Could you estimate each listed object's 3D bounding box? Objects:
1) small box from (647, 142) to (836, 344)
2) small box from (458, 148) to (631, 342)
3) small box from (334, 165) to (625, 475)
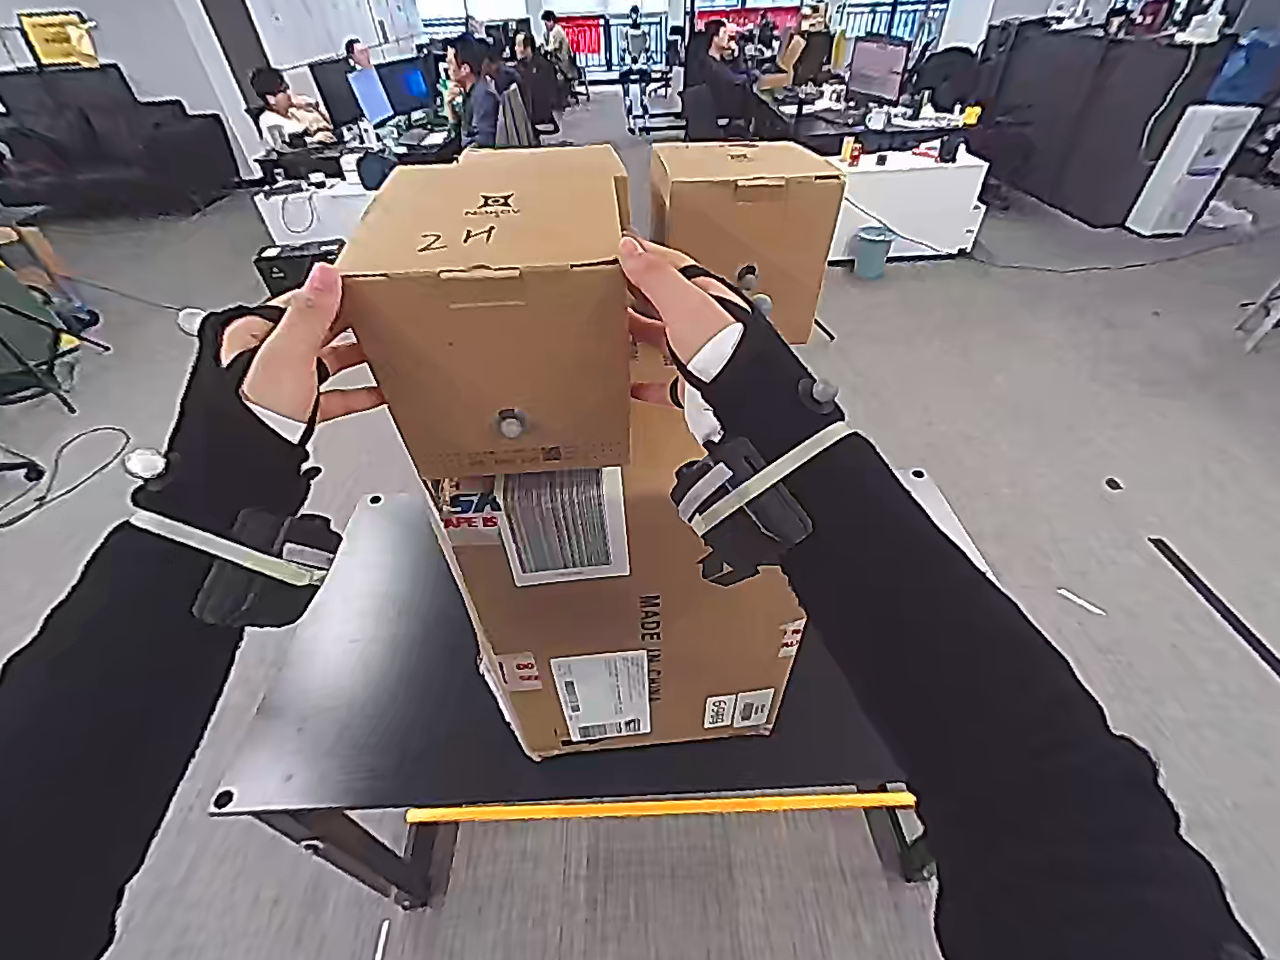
[{"bbox_3d":[0.096,-0.264,0.608,0.168,0.176,0.179,-2,42,-4],"label":"small box"},{"bbox_3d":[-0.103,-0.260,0.609,0.168,0.176,0.179,-7,41,-6],"label":"small box"},{"bbox_3d":[-0.099,-0.125,0.423,0.168,0.176,0.179,-4,48,-2],"label":"small box"}]
